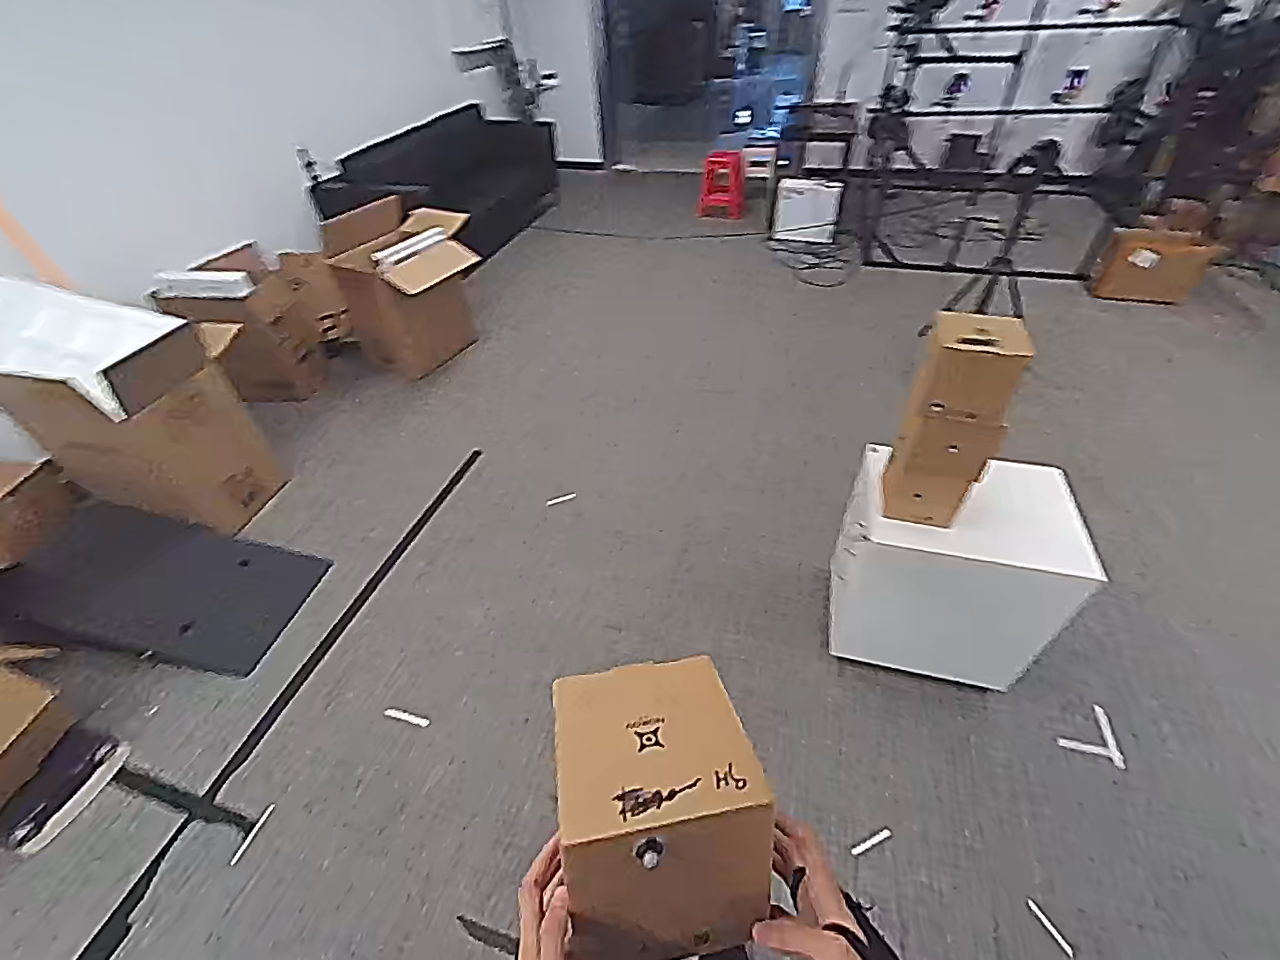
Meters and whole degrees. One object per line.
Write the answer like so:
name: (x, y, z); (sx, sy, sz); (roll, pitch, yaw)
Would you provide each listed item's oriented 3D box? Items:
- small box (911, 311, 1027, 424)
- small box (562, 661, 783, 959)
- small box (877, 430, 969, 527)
small box: (0.697, -0.242, 1.167); (0.168, 0.176, 0.179); (11, 44, 15)
small box: (0.019, 0.302, 0.503); (0.168, 0.176, 0.179); (-7, 21, -8)
small box: (0.720, -0.003, 1.392); (0.168, 0.176, 0.179); (10, 44, 13)
